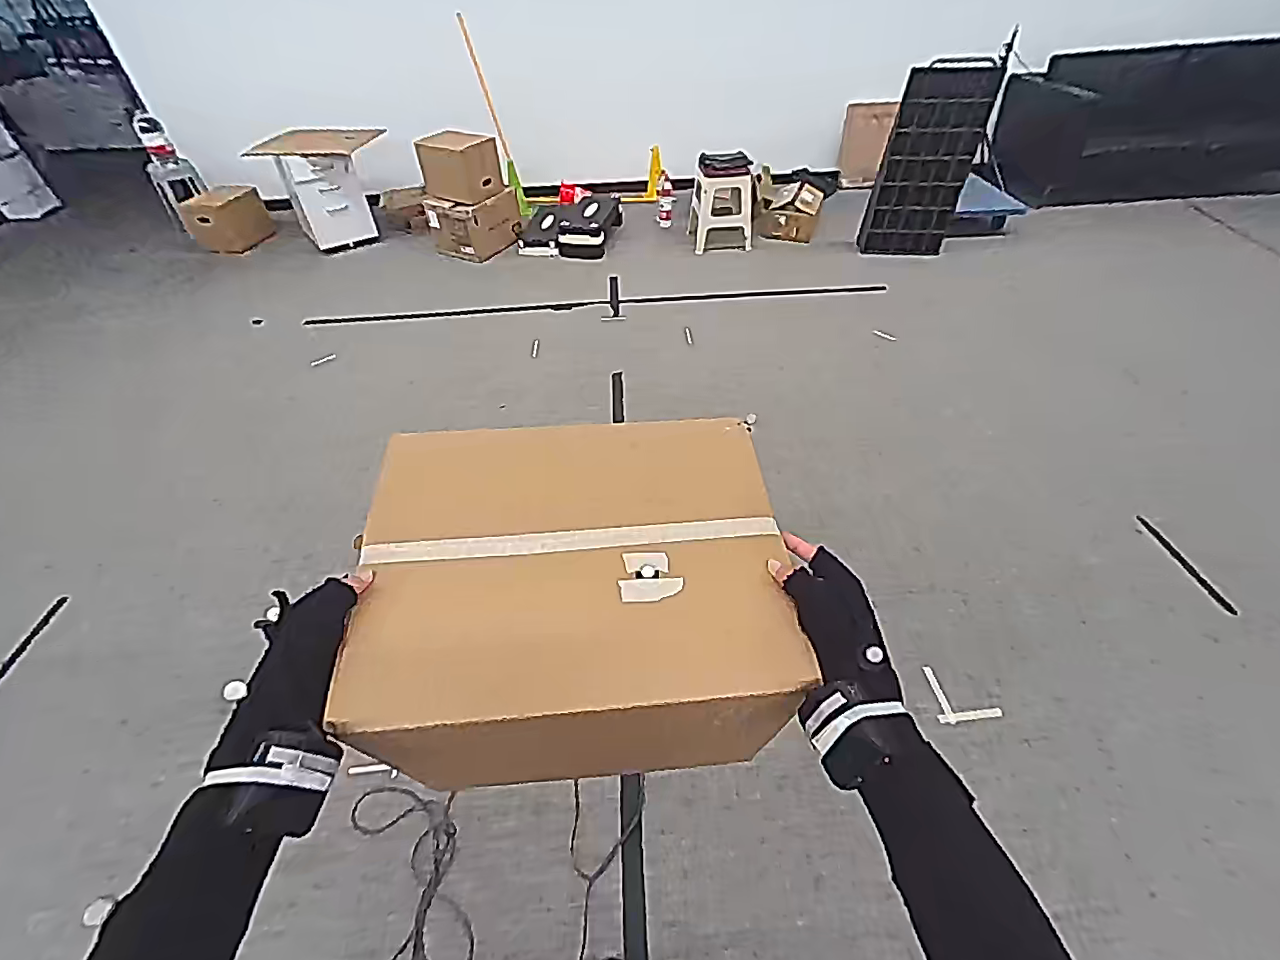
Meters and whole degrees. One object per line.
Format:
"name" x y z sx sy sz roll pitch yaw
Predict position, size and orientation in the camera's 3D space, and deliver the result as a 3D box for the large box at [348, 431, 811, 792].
"large box" -0.066 0.165 0.664 0.408 0.320 0.320 -3 54 -5
